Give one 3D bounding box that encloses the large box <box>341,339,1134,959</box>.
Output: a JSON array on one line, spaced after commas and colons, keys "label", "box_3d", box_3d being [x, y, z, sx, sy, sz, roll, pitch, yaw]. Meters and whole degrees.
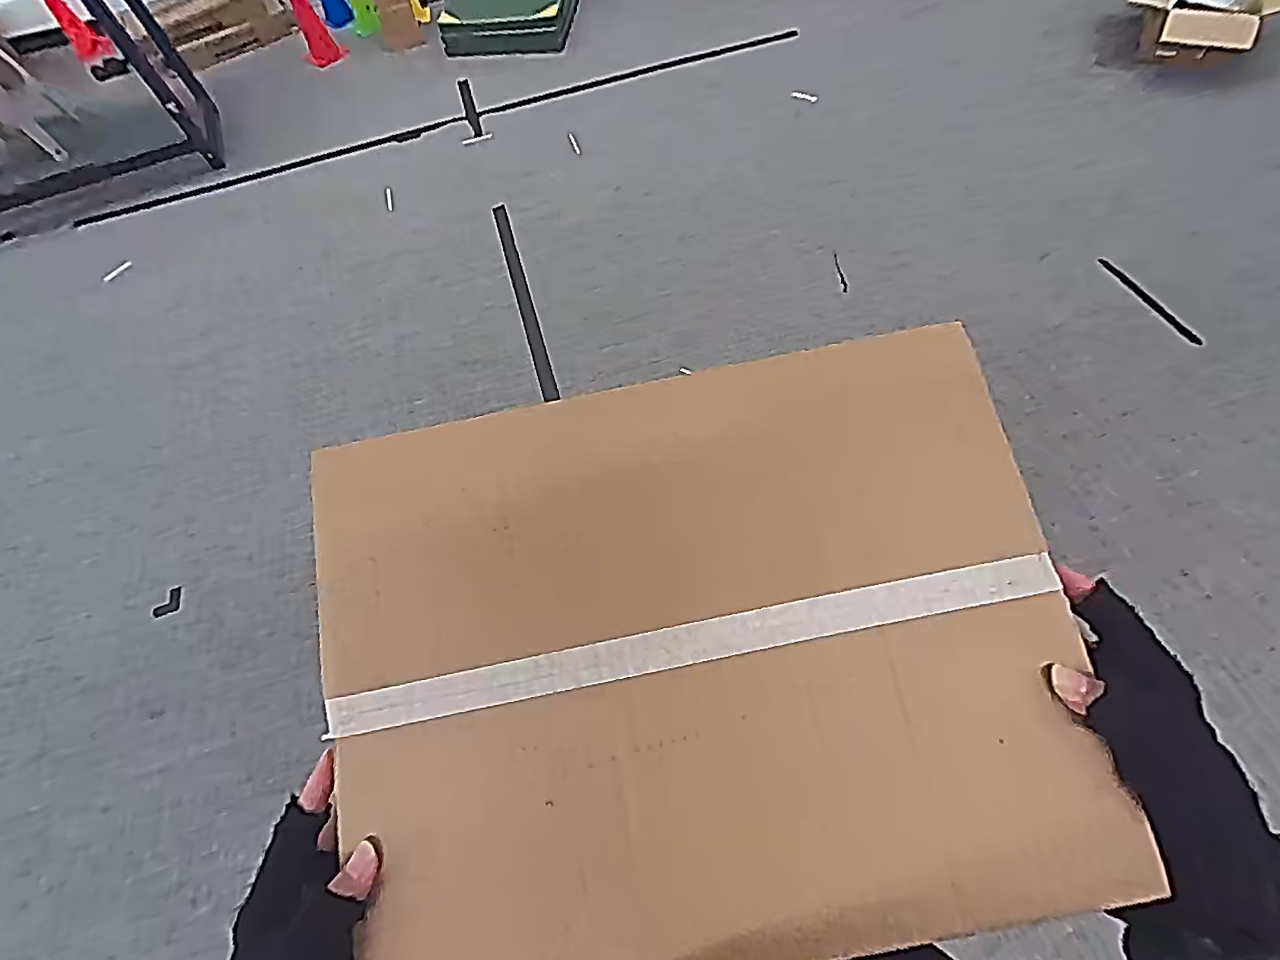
[{"label": "large box", "box_3d": [0.037, 0.130, 0.455, 0.408, 0.320, 0.320, -12, 78, 1]}]
